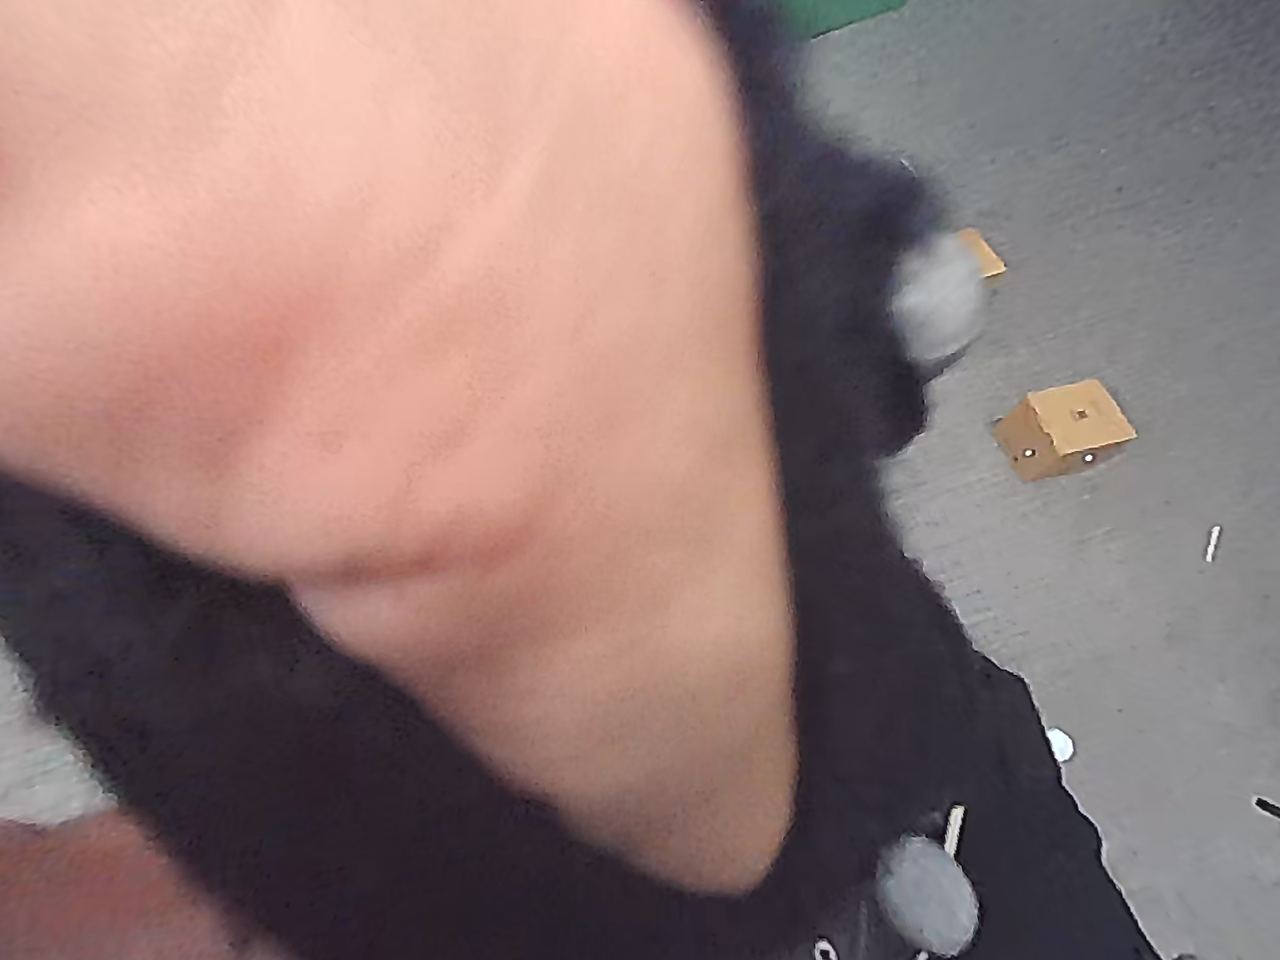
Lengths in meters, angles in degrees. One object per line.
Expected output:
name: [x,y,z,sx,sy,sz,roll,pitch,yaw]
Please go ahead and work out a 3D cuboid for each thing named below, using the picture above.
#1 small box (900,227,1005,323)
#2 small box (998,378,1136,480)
small box: [0.869,-0.568,1.524,0.168,0.176,0.179,-17,64,-1]
small box: [1.005,-0.115,1.299,0.179,0.176,0.168,-13,66,0]
